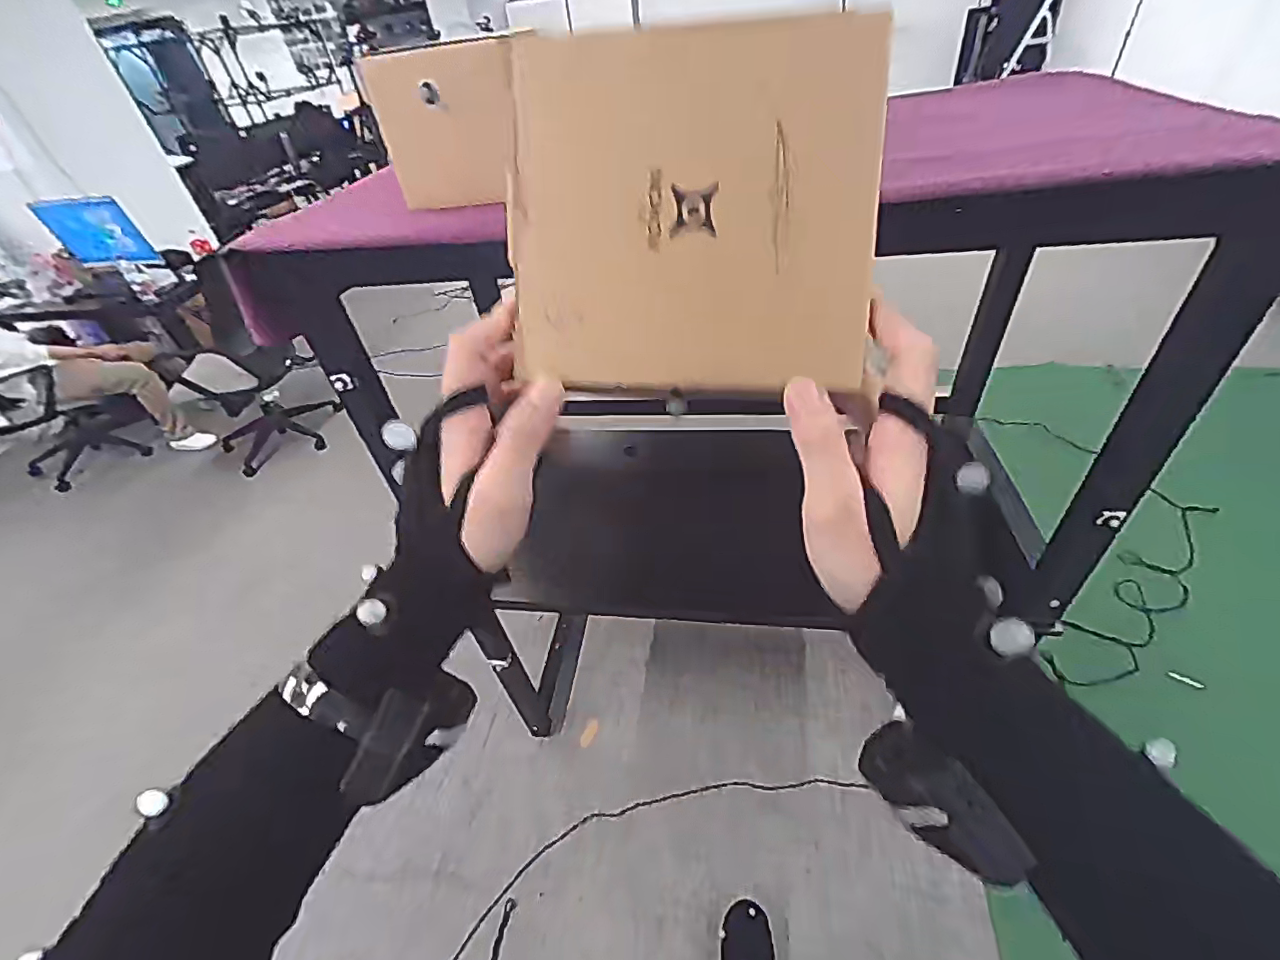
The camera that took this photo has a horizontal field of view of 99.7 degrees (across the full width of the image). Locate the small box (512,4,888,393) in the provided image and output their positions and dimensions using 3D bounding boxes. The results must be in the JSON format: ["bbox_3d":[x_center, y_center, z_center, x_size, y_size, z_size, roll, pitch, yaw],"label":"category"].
[{"bbox_3d":[0.035,-0.142,0.339,0.179,0.168,0.176,3,8,9],"label":"small box"}]

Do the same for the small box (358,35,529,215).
[{"bbox_3d":[-0.220,-0.464,0.715,0.179,0.176,0.168,-1,42,10],"label":"small box"}]
